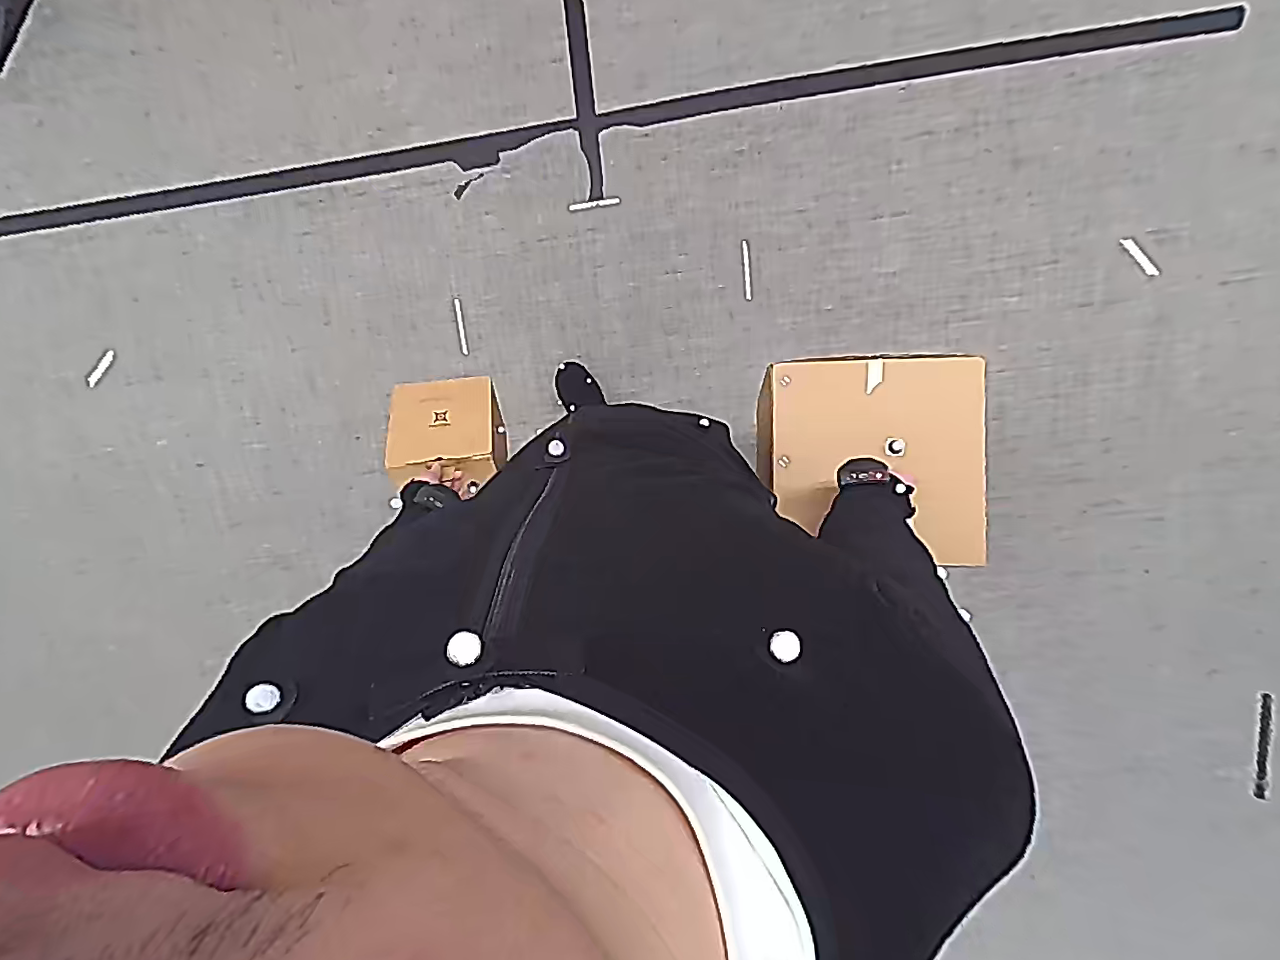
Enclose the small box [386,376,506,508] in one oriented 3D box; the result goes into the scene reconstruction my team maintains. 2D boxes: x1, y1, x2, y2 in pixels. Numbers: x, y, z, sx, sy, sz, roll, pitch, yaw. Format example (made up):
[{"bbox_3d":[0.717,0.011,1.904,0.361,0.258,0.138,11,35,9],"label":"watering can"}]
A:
[{"bbox_3d":[-0.335,-0.060,0.964,0.168,0.176,0.179,-6,59,-8],"label":"small box"}]
